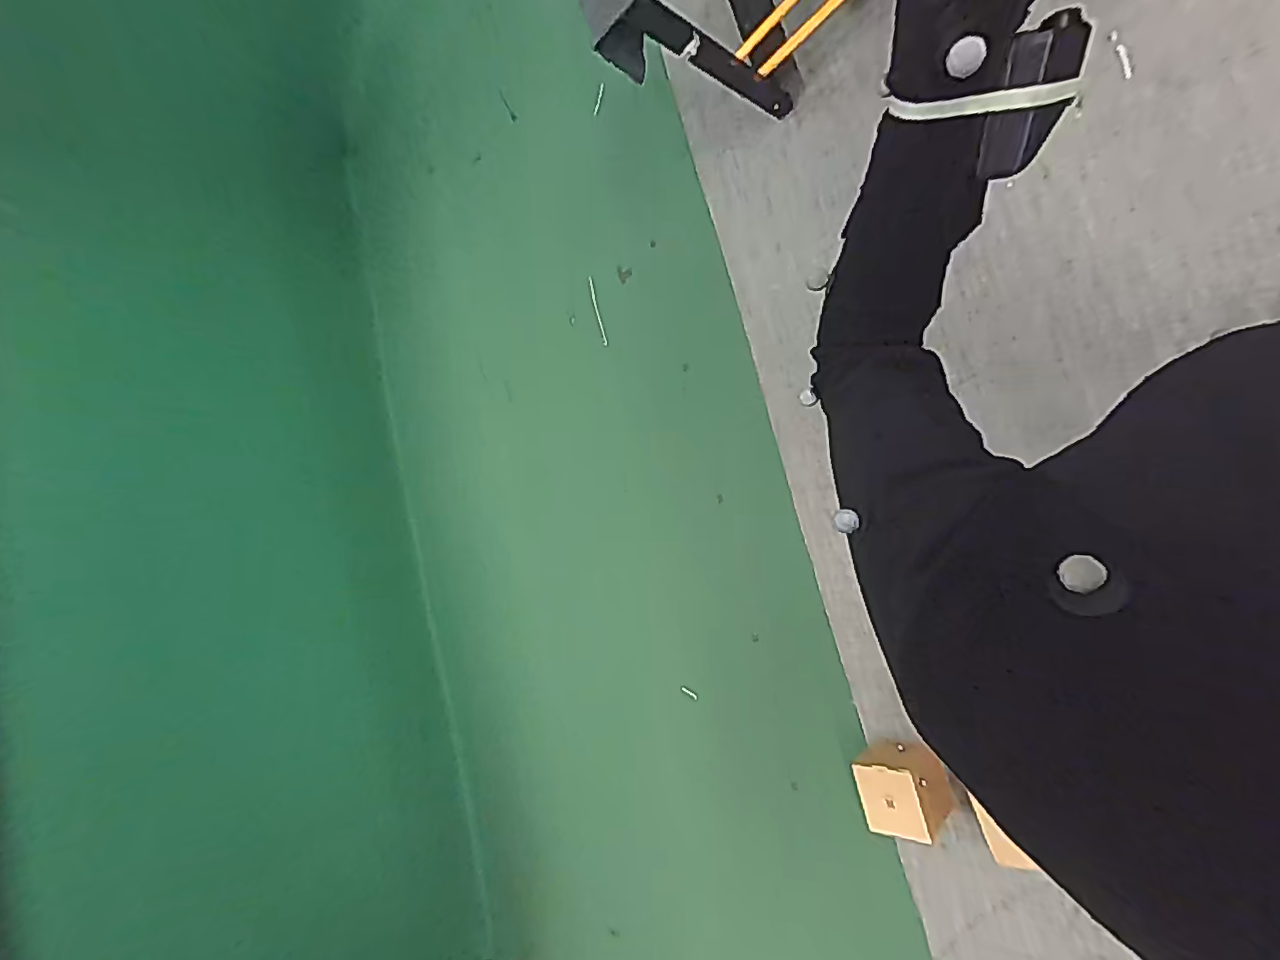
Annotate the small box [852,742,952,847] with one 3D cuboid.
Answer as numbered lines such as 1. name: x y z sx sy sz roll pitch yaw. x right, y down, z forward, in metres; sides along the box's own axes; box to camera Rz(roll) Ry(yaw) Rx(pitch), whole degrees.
1. small box: 0.701 0.827 1.441 0.168 0.176 0.179 -23 78 45
